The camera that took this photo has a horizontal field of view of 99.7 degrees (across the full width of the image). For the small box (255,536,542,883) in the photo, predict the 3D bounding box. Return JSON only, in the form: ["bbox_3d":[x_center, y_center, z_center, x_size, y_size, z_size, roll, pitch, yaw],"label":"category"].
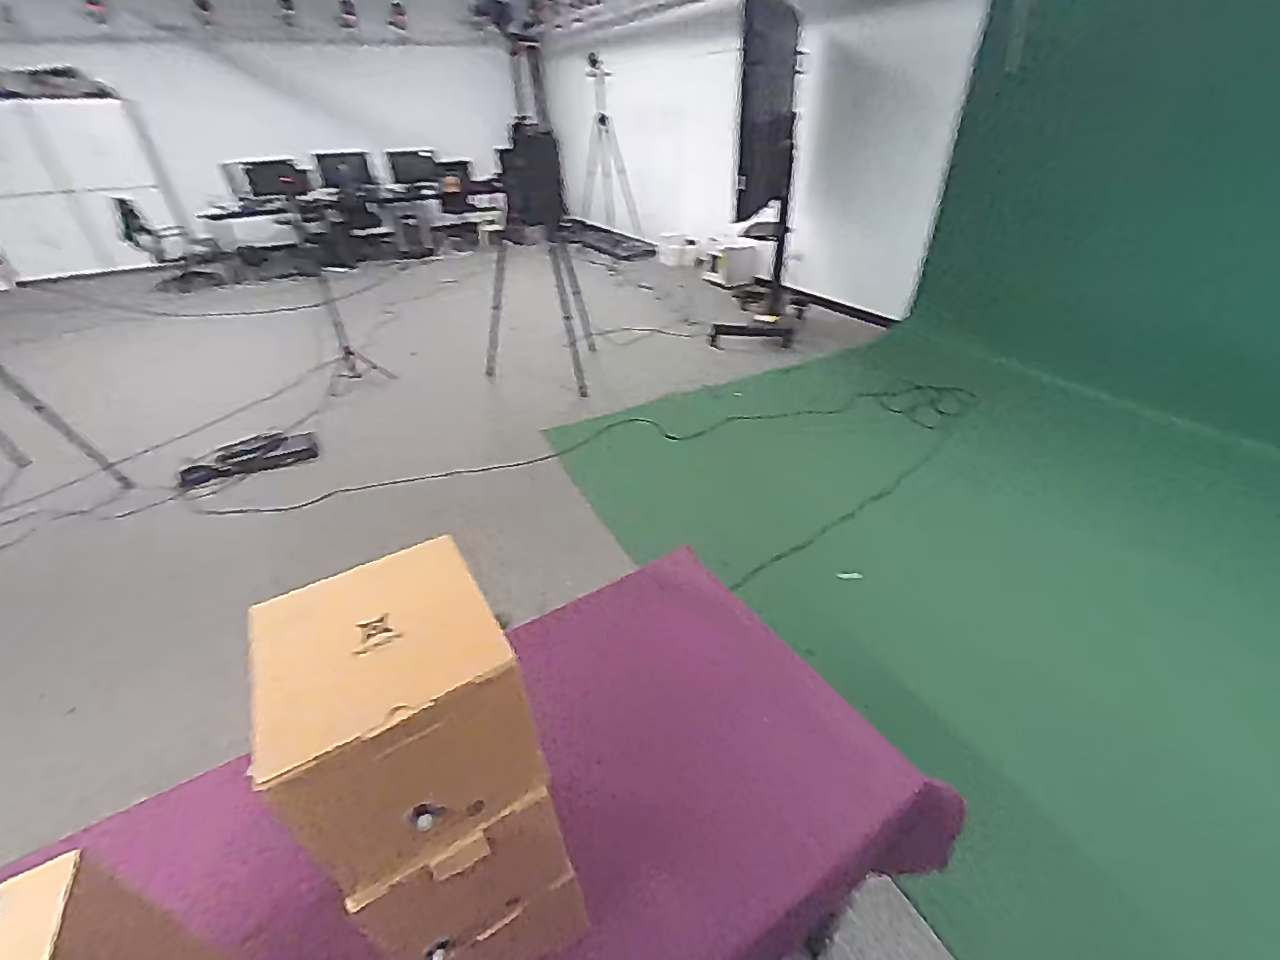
[{"bbox_3d":[-0.199,0.183,0.460,0.168,0.176,0.179,-22,38,-26],"label":"small box"}]

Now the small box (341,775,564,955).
[{"bbox_3d":[-0.189,0.323,0.542,0.168,0.176,0.179,-21,37,-25],"label":"small box"}]

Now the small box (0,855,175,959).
[{"bbox_3d":[-0.482,0.436,0.394,0.168,0.176,0.179,-20,38,-25],"label":"small box"}]
